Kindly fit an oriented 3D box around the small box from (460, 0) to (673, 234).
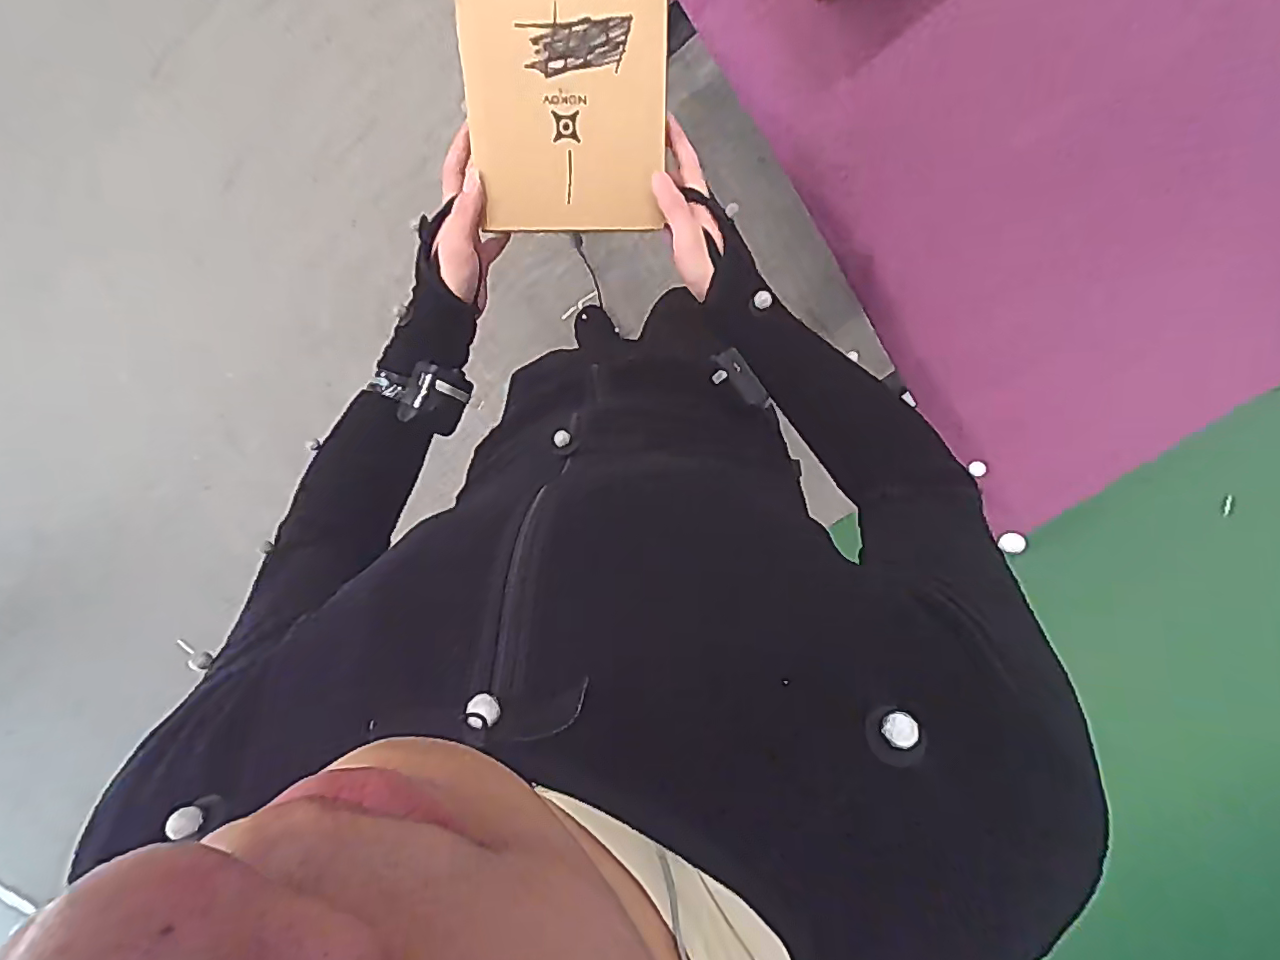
[{"bbox_3d":[-0.060,-0.333,0.515,0.168,0.176,0.179,-1,115,-1],"label":"small box"}]
